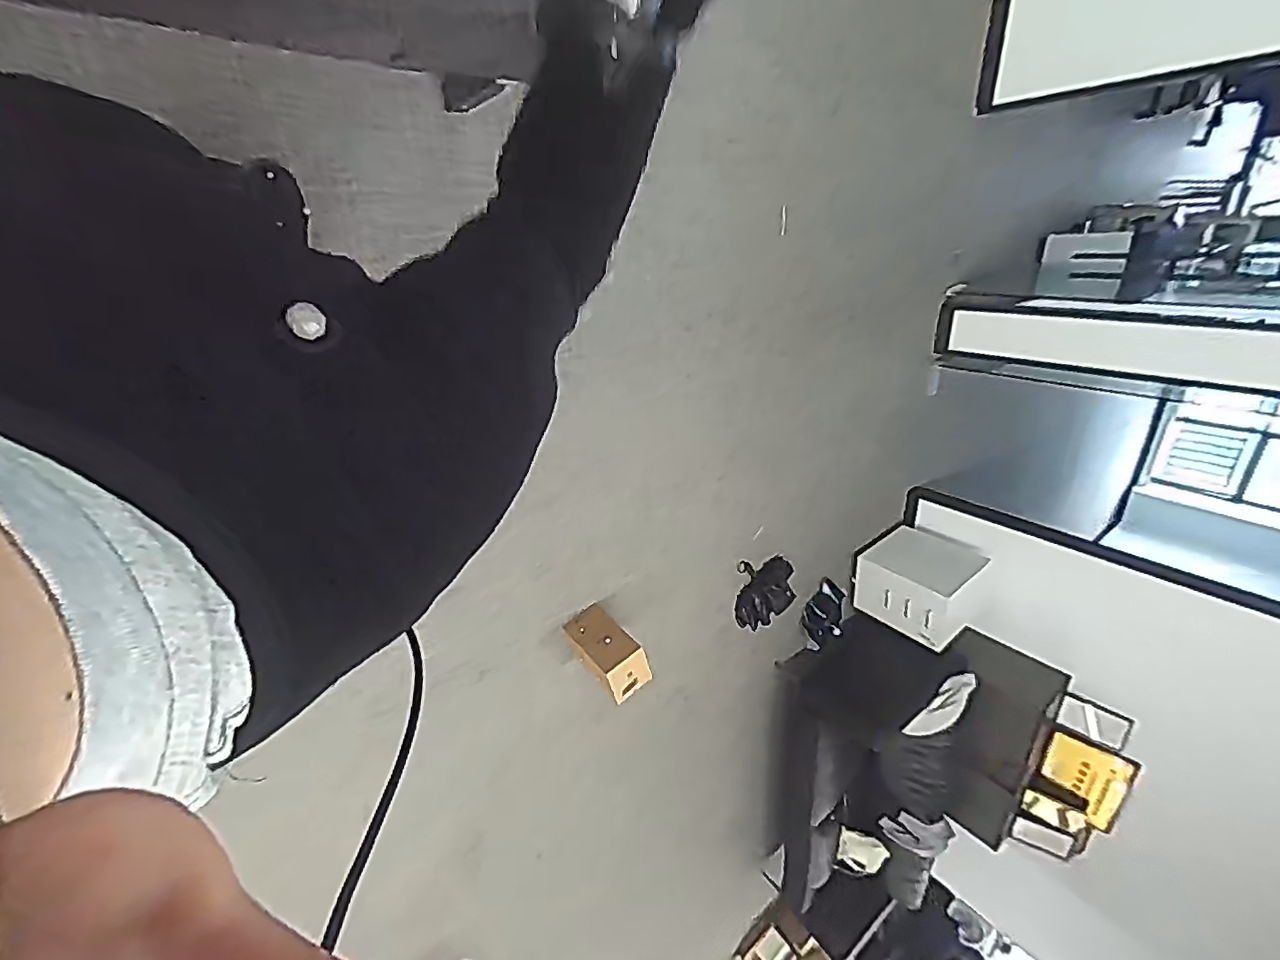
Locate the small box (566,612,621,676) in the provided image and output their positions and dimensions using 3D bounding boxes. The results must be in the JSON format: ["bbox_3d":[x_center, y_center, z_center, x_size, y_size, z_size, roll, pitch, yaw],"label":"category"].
[{"bbox_3d":[-0.167,0.646,2.127,0.168,0.176,0.179,-32,126,-24],"label":"small box"}]

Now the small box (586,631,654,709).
[{"bbox_3d":[-0.074,0.695,2.000,0.168,0.176,0.179,-32,123,-25],"label":"small box"}]
